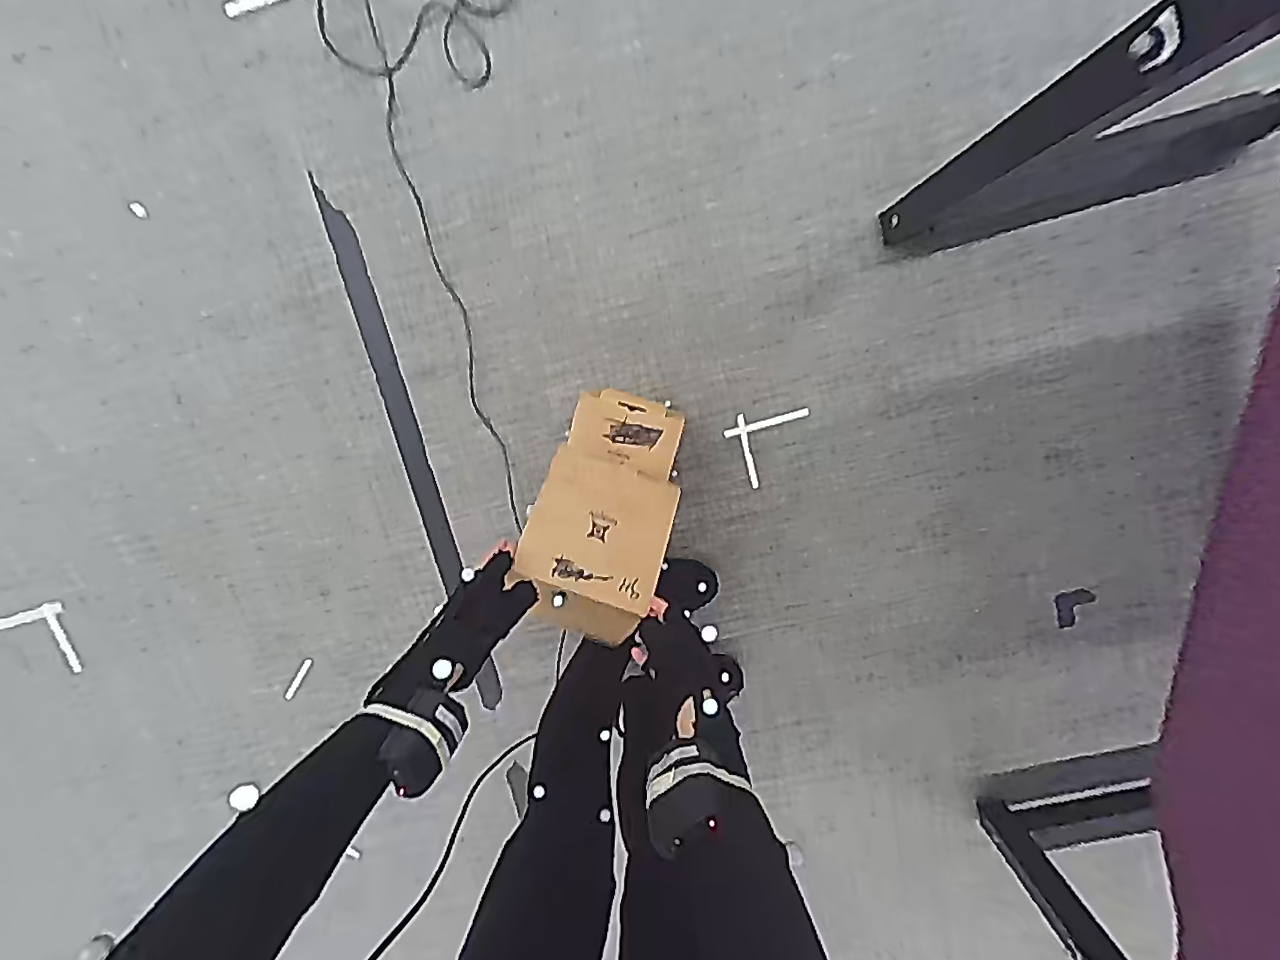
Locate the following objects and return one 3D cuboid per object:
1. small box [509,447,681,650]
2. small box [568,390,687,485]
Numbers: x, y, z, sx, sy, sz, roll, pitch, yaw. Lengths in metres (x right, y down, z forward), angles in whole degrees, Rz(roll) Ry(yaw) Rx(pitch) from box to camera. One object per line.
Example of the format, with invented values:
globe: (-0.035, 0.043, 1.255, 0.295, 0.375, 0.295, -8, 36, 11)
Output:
small box: (-0.063, 0.094, 0.697, 0.168, 0.179, 0.176, 20, 145, -3)
small box: (-0.028, -0.046, 0.903, 0.168, 0.176, 0.179, 16, 102, 0)
